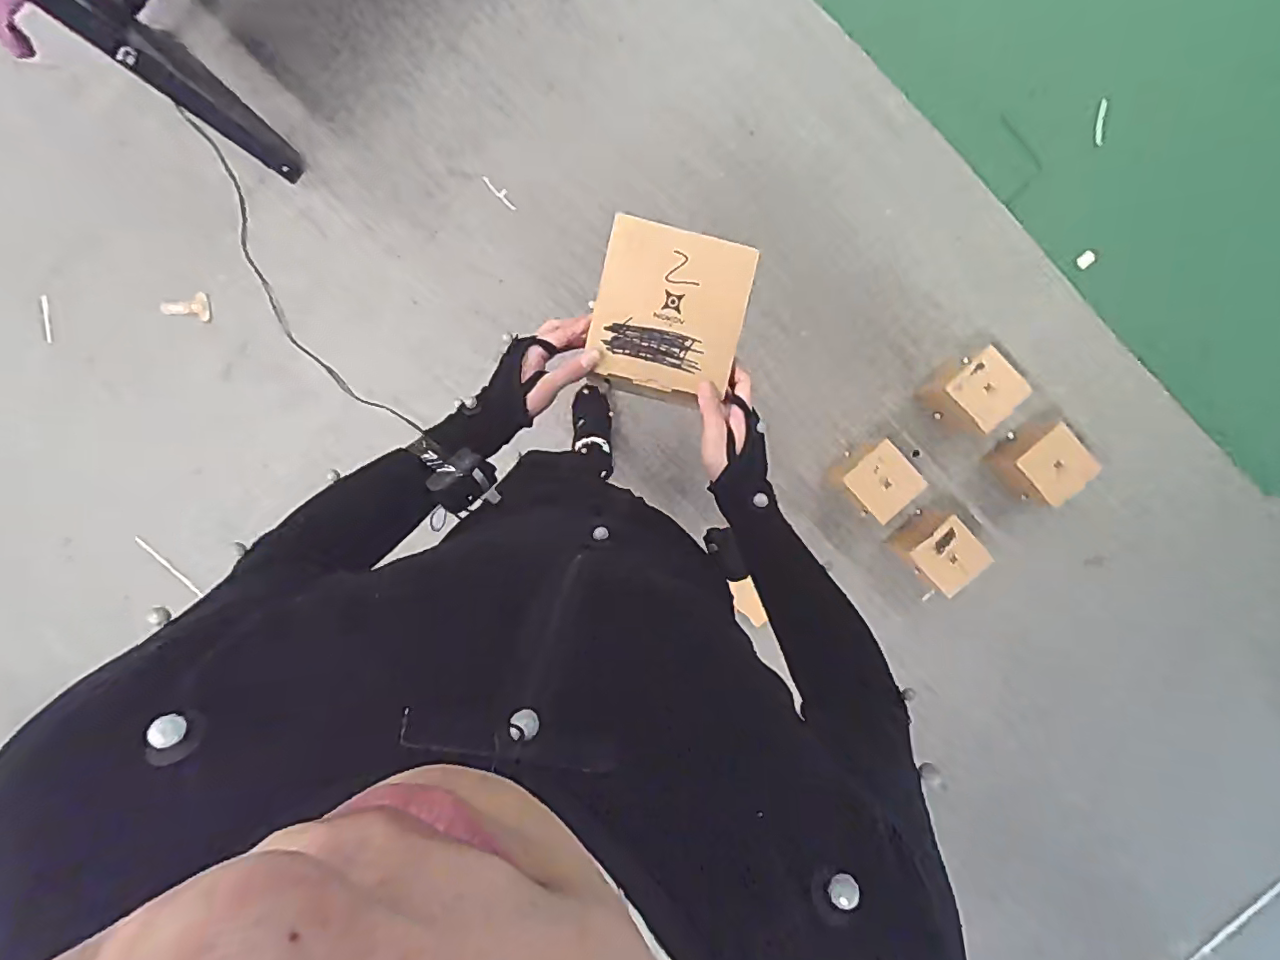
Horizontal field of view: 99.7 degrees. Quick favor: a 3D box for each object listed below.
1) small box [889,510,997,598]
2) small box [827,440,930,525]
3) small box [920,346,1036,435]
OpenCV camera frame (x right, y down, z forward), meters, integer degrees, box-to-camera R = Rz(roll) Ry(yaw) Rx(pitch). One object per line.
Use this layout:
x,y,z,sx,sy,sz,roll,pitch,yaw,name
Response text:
0.854,0.201,1.545,0.168,0.176,0.179,-42,94,5,small box
0.667,-0.003,1.531,0.168,0.176,0.179,-43,93,5,small box
0.928,-0.245,1.500,0.168,0.176,0.179,-44,94,4,small box
